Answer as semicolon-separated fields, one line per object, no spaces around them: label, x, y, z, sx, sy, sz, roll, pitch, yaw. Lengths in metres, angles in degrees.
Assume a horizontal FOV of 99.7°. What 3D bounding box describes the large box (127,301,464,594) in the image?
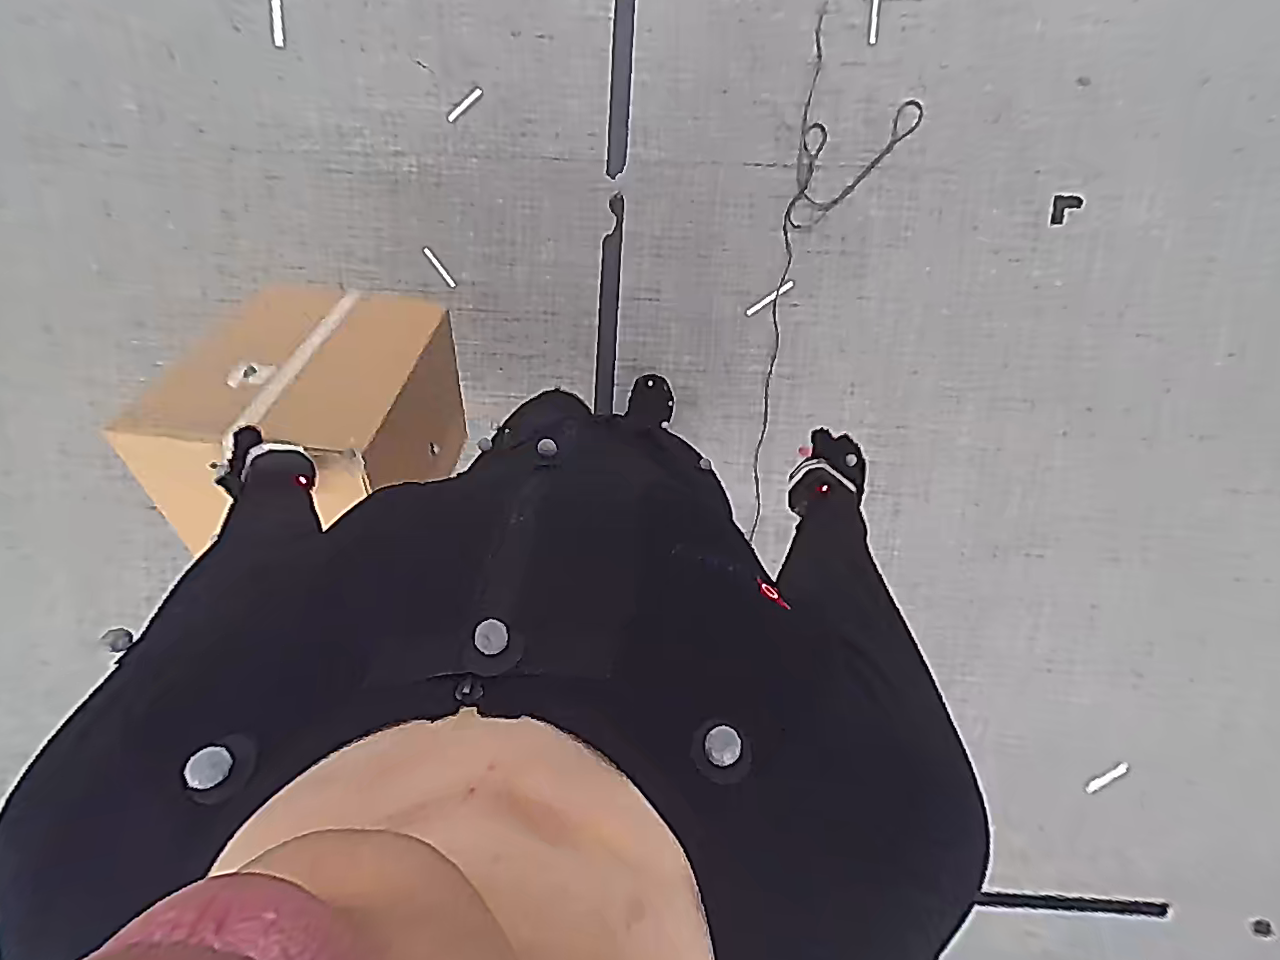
large box;-0.515;-0.063;0.934;0.320;0.408;0.320;4;134;-3
